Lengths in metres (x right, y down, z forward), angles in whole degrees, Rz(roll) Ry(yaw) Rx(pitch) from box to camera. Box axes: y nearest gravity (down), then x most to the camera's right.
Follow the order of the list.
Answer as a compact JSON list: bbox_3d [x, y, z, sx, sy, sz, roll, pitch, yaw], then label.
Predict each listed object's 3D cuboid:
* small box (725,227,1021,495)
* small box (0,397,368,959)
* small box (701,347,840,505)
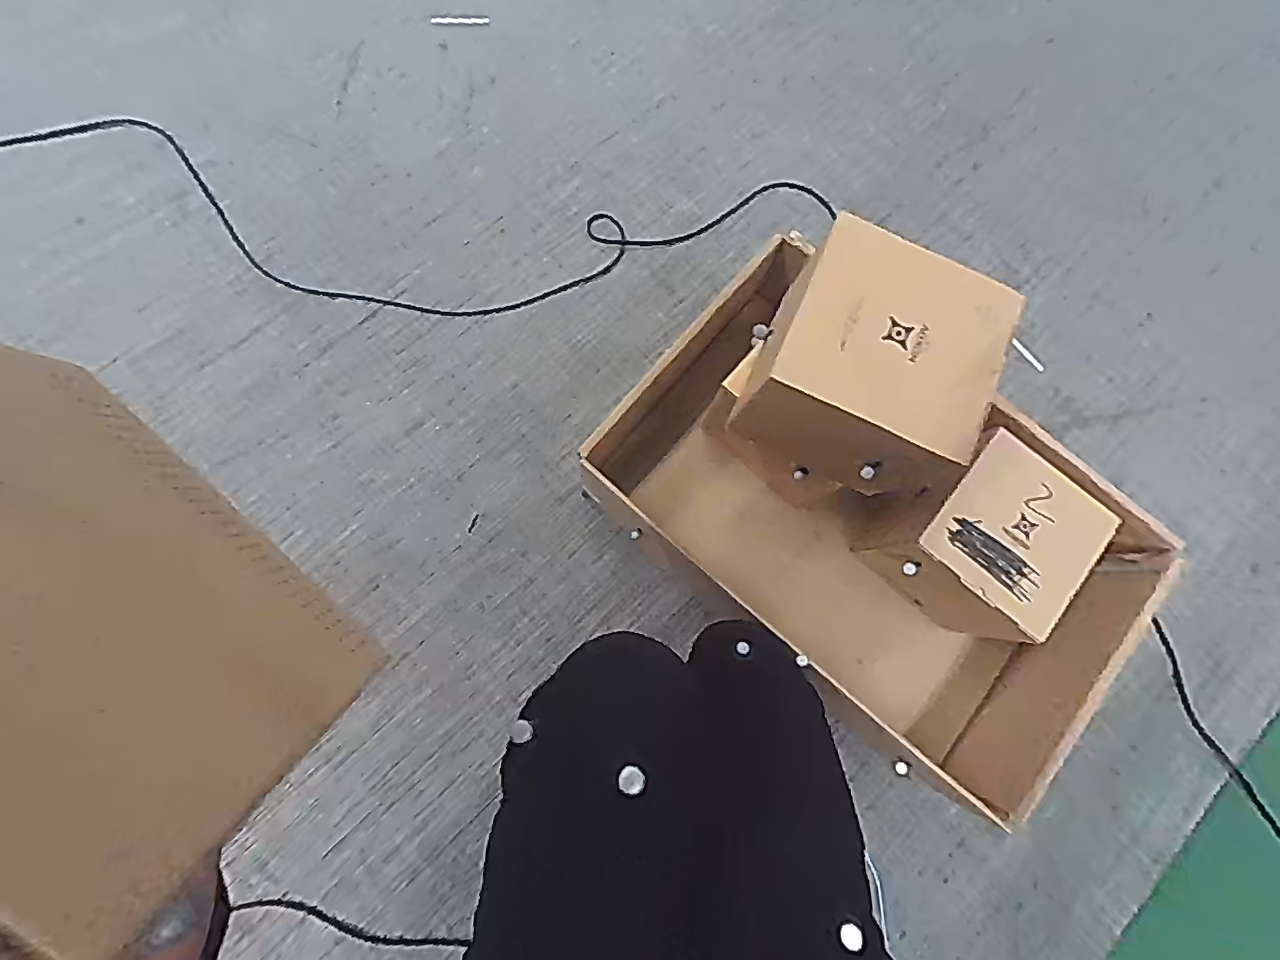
[{"bbox_3d":[0.204,-0.095,0.521,0.179,0.176,0.168,25,80,1],"label":"small box"},{"bbox_3d":[-0.216,0.081,0.143,0.168,0.176,0.179,-44,96,-8],"label":"small box"},{"bbox_3d":[0.199,-0.085,0.684,0.179,0.176,0.168,42,81,3],"label":"small box"}]
